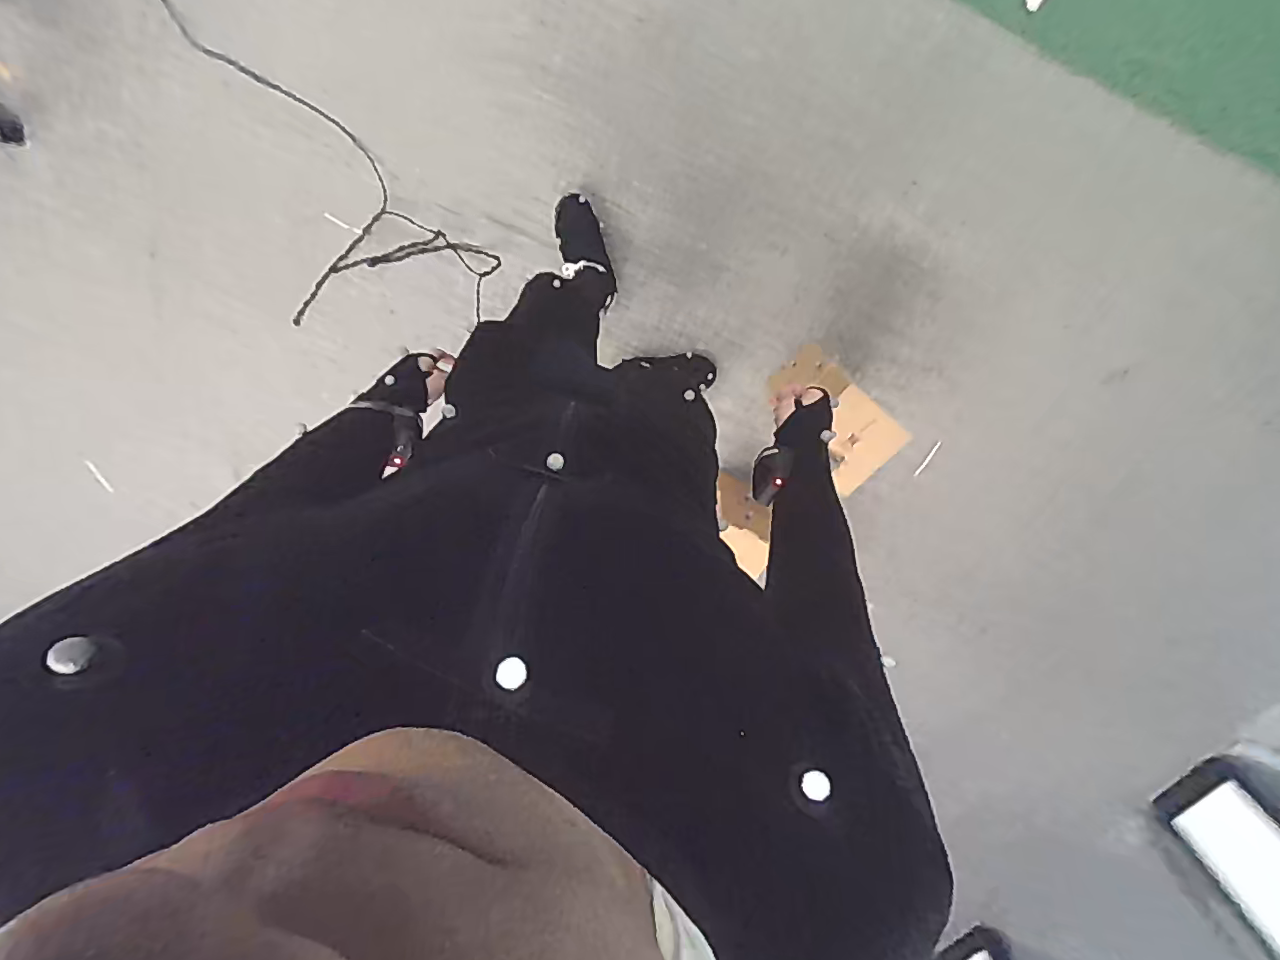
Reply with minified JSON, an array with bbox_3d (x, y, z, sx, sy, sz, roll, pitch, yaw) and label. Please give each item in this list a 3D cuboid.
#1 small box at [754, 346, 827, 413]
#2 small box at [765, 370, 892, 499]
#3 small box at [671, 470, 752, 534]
[{"bbox_3d":[0.415,-0.233,1.416,0.168,0.176,0.179,-39,105,22],"label":"small box"},{"bbox_3d":[0.376,-0.099,1.118,0.168,0.176,0.179,40,112,-12],"label":"small box"},{"bbox_3d":[0.208,0.092,1.591,0.179,0.176,0.168,27,115,-6],"label":"small box"}]
